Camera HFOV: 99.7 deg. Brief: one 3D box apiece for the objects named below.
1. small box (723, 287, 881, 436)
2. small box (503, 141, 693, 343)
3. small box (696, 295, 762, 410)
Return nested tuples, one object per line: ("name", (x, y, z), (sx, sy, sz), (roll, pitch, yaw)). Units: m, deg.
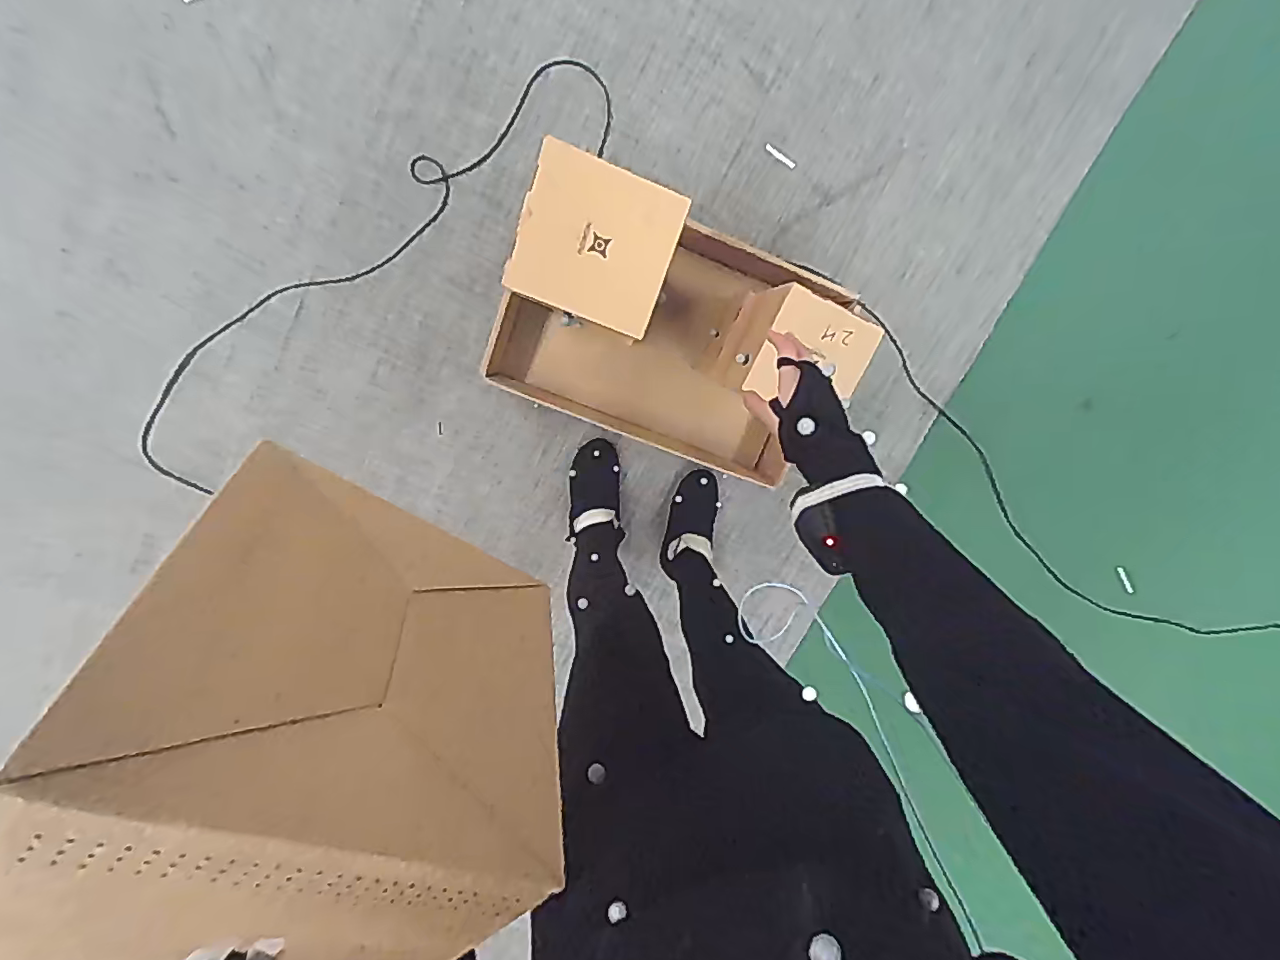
("small box", (0.254, -0.194, 0.901), (0.168, 0.176, 0.179), (24, 99, -11))
("small box", (-0.053, -0.286, 0.690), (0.179, 0.176, 0.168), (20, 102, -8))
("small box", (0.227, -0.238, 1.059), (0.179, 0.176, 0.168), (25, 100, -9))
